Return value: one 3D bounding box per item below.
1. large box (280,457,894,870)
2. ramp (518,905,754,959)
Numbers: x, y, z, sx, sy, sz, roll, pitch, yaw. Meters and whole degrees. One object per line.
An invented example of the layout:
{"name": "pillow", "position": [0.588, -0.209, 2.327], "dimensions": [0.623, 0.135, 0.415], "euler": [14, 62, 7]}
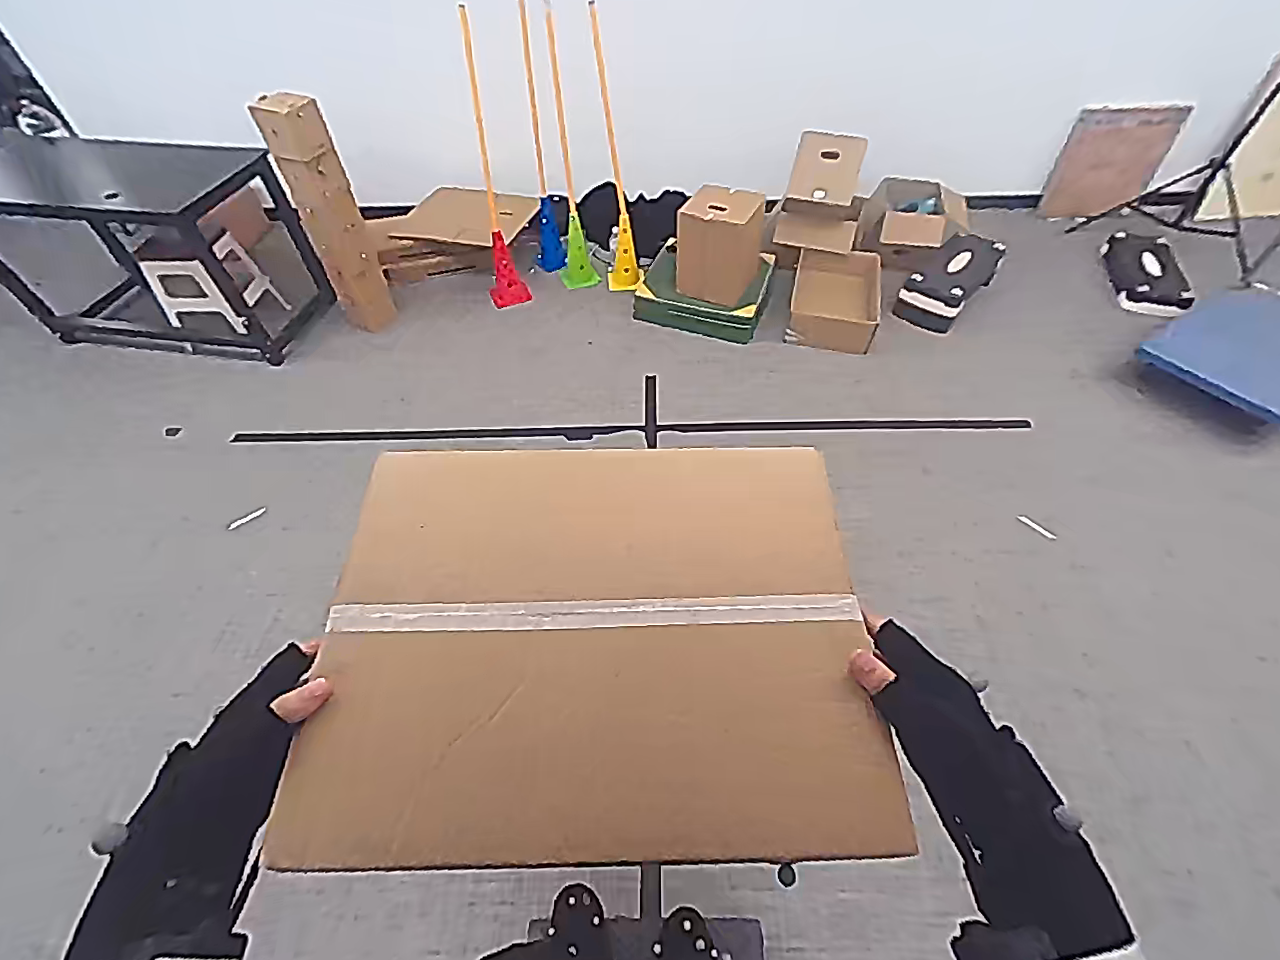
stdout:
{"name": "large box", "position": [-0.035, 0.189, 0.550], "dimensions": [0.408, 0.320, 0.320], "euler": [0, 57, -1]}
{"name": "ramp", "position": [-0.006, 1.348, 0.921], "dimensions": [0.509, 0.206, 0.991], "euler": [-1, 52, -2]}
